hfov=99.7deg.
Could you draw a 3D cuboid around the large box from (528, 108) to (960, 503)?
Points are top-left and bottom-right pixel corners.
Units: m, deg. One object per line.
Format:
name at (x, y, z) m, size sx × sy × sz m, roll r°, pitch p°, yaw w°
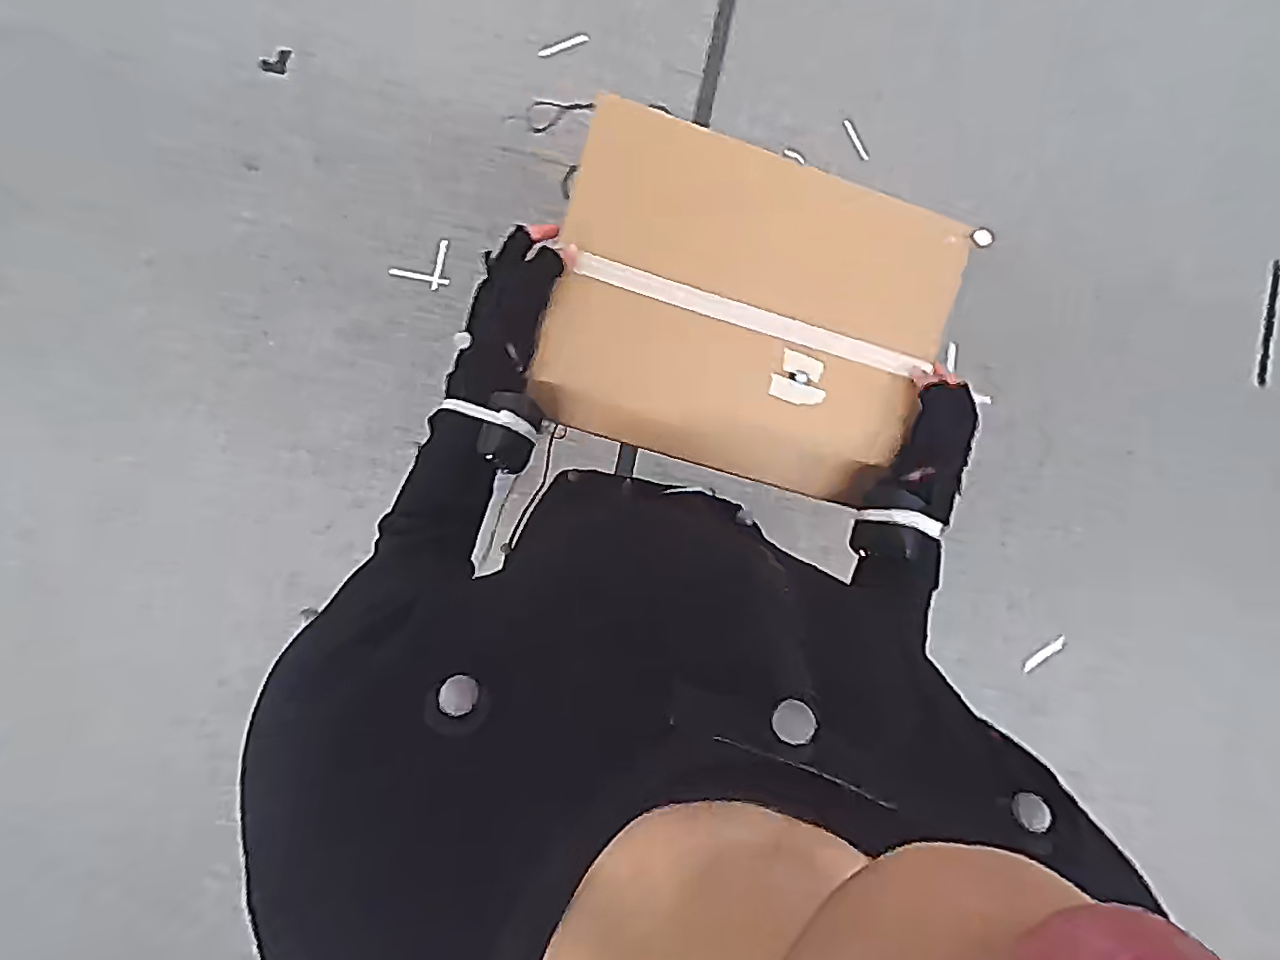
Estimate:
large box at (0.097, -0.187, 0.711) m, size 0.408 × 0.320 × 0.320 m, roll 16°, pitch 96°, yaw -8°
